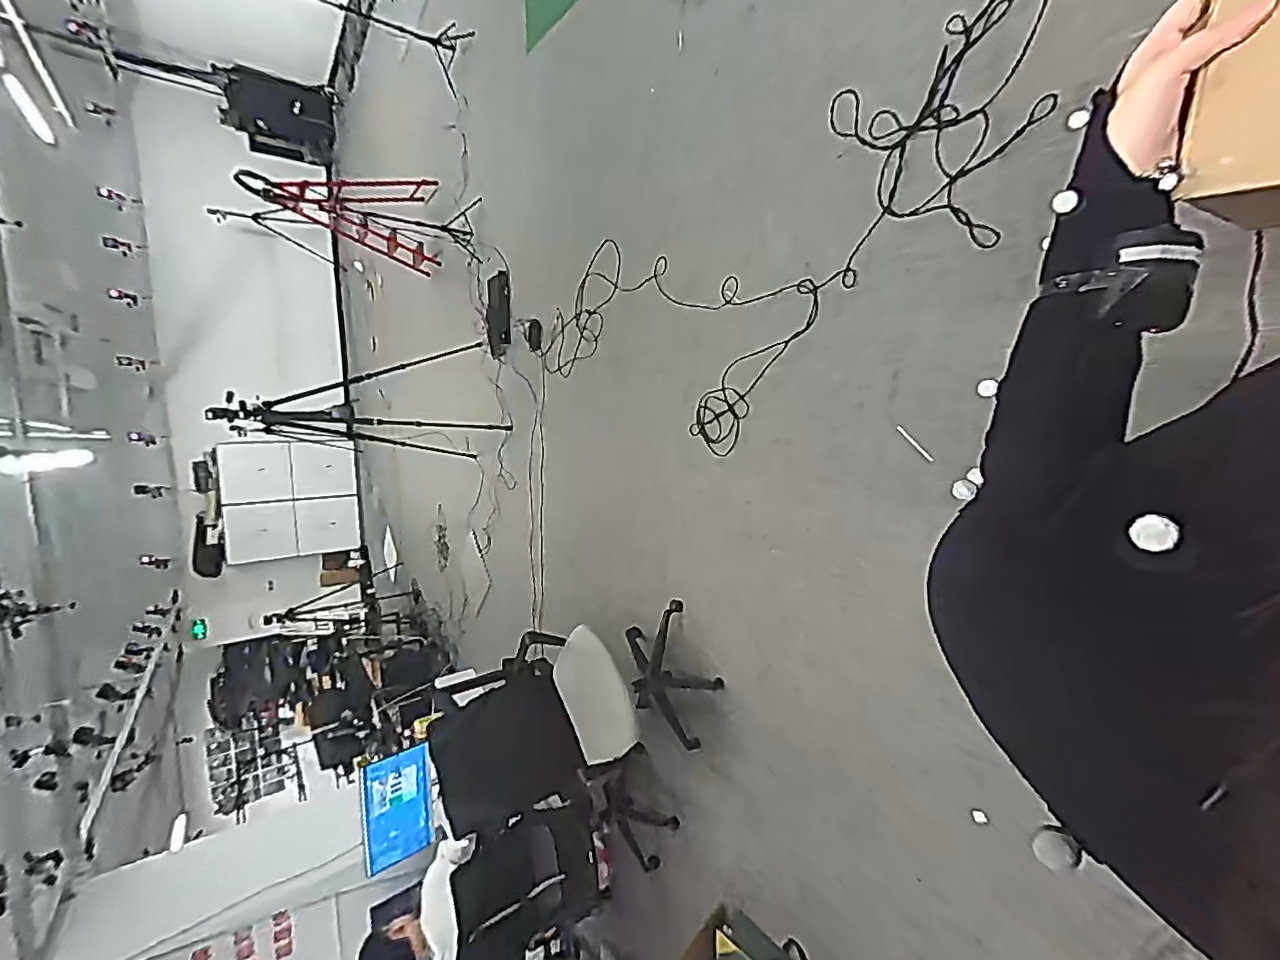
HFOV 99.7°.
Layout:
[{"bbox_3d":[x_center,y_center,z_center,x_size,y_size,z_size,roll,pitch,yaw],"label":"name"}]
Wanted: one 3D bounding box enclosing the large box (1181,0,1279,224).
[{"bbox_3d":[0.624,-0.343,0.282,0.408,0.320,0.320,18,115,53],"label":"large box"}]
